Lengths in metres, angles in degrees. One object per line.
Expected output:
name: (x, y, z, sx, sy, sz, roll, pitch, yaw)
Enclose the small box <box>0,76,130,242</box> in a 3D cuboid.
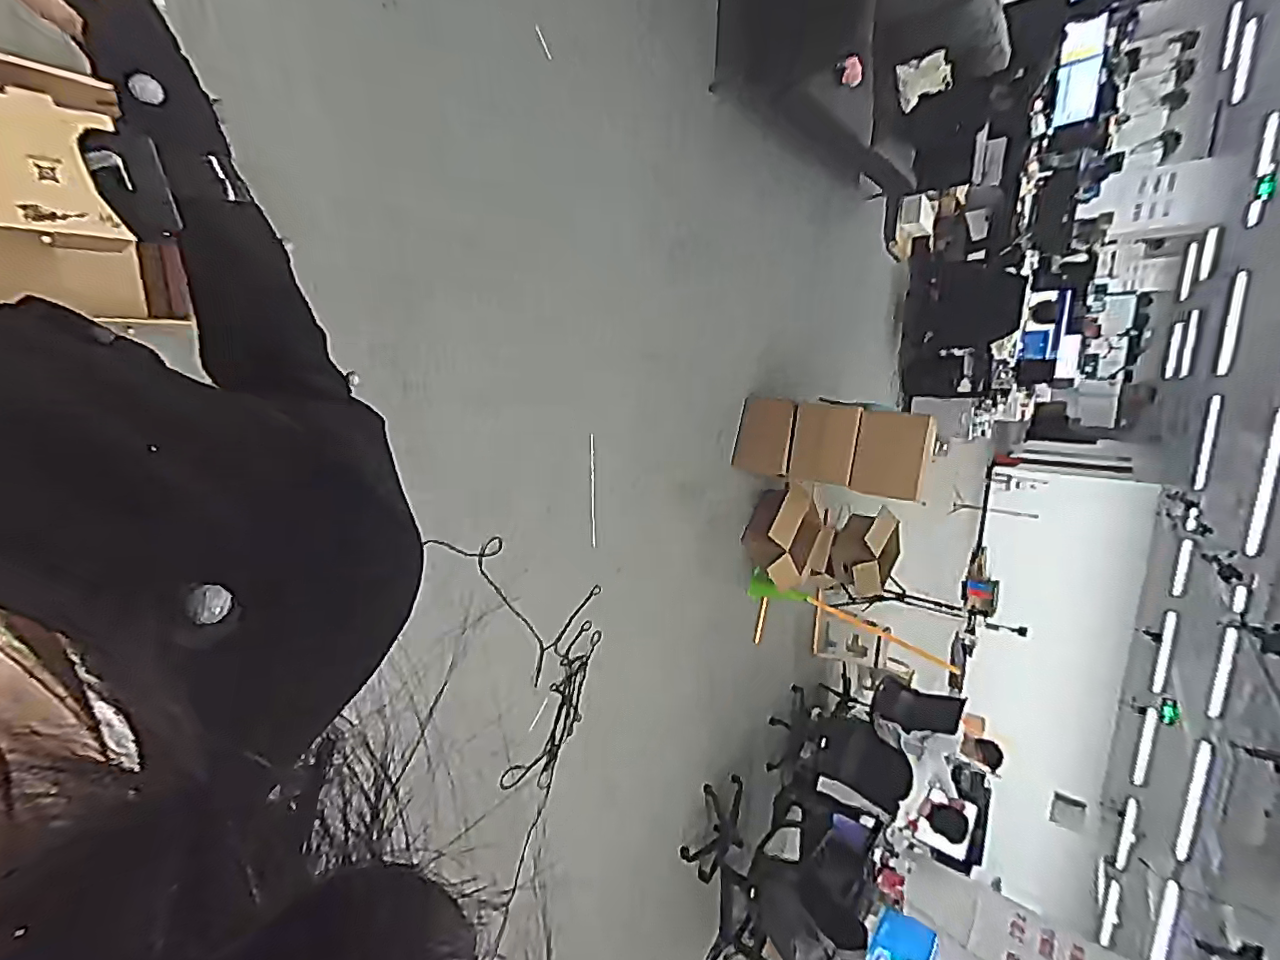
small box: (-0.902, -0.470, 0.807, 0.168, 0.176, 0.179, -15, 110, -48)
